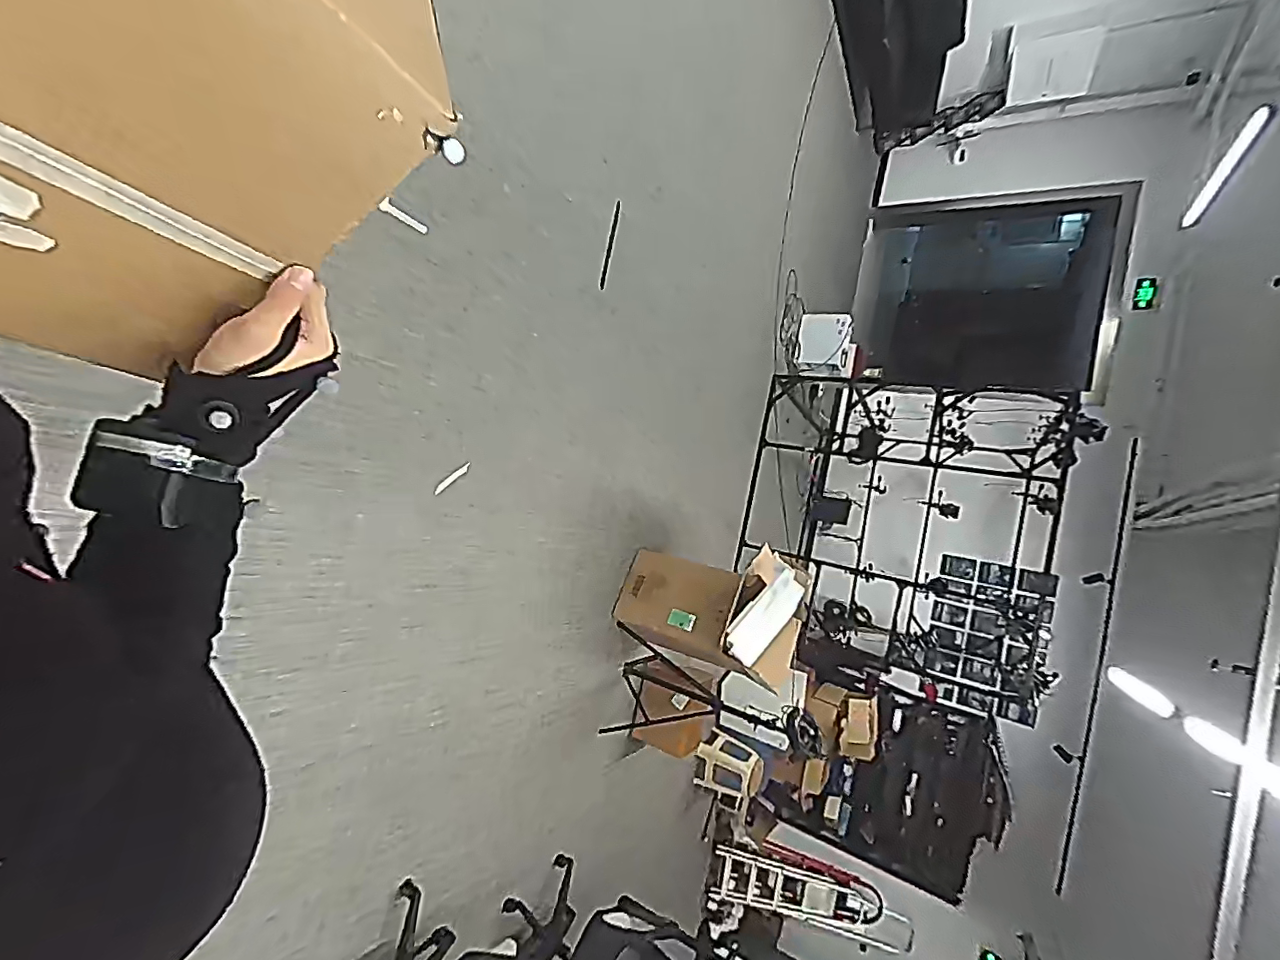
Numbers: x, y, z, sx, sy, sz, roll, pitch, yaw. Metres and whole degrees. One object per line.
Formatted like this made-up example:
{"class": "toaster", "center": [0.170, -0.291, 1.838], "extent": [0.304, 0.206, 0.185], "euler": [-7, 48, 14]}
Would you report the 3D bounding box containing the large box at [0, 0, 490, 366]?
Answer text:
{"class": "large box", "center": [-0.346, -0.320, 0.253], "extent": [0.408, 0.320, 0.320], "euler": [21, 49, -56]}
